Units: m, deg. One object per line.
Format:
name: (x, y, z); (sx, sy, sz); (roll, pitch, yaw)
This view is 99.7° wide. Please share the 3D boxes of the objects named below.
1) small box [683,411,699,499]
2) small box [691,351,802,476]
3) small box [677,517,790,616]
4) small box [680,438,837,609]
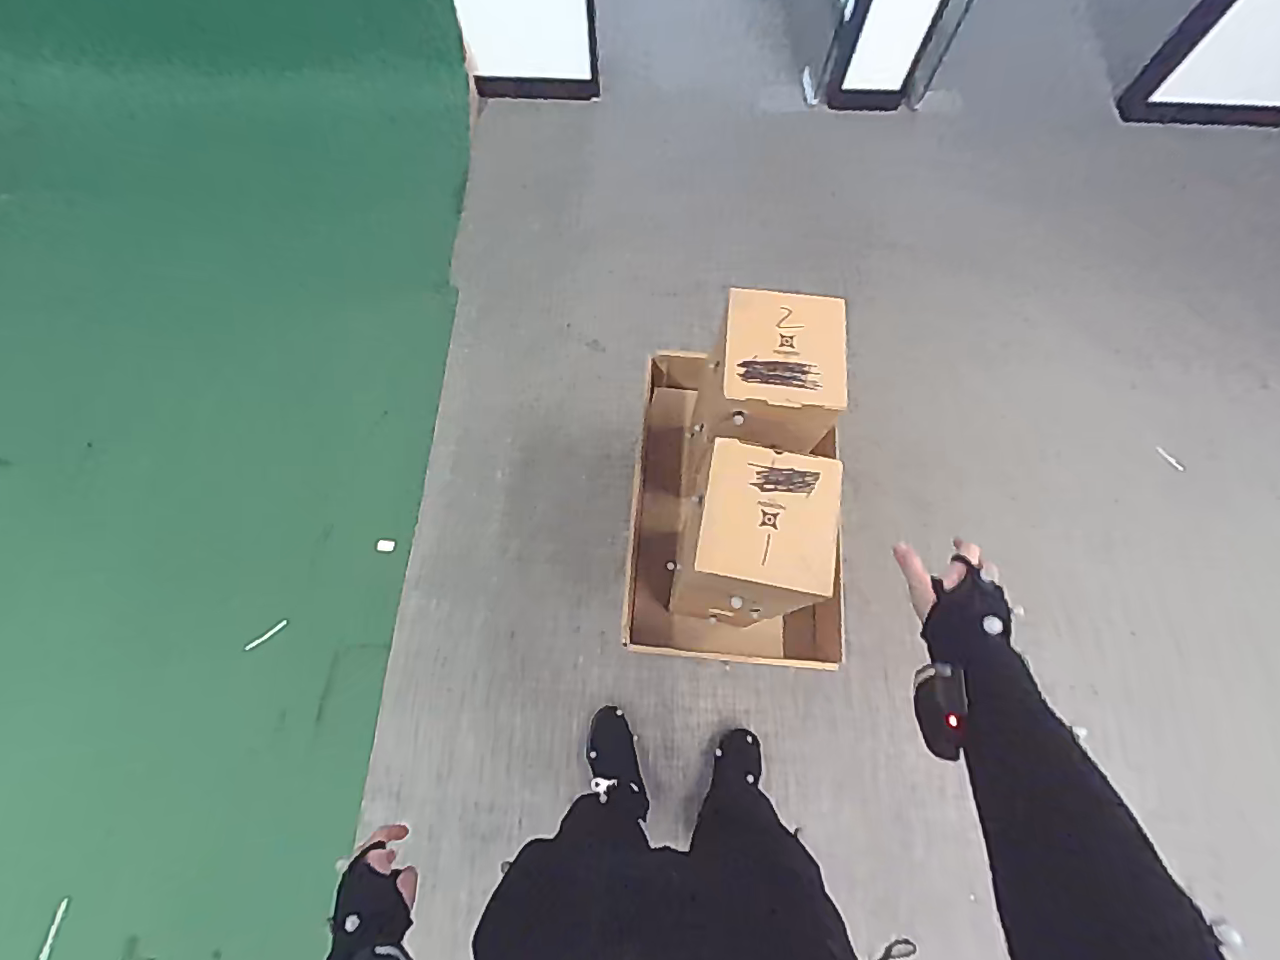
small box: (0.182, -0.061, 1.133); (0.168, 0.176, 0.179); (5, 72, 1)
small box: (0.185, -0.109, 0.978); (0.168, 0.176, 0.179); (5, 73, -1)
small box: (0.158, 0.120, 0.894); (0.168, 0.176, 0.179); (11, 70, 2)
small box: (0.153, 0.067, 0.739); (0.168, 0.176, 0.179); (11, 71, 2)
